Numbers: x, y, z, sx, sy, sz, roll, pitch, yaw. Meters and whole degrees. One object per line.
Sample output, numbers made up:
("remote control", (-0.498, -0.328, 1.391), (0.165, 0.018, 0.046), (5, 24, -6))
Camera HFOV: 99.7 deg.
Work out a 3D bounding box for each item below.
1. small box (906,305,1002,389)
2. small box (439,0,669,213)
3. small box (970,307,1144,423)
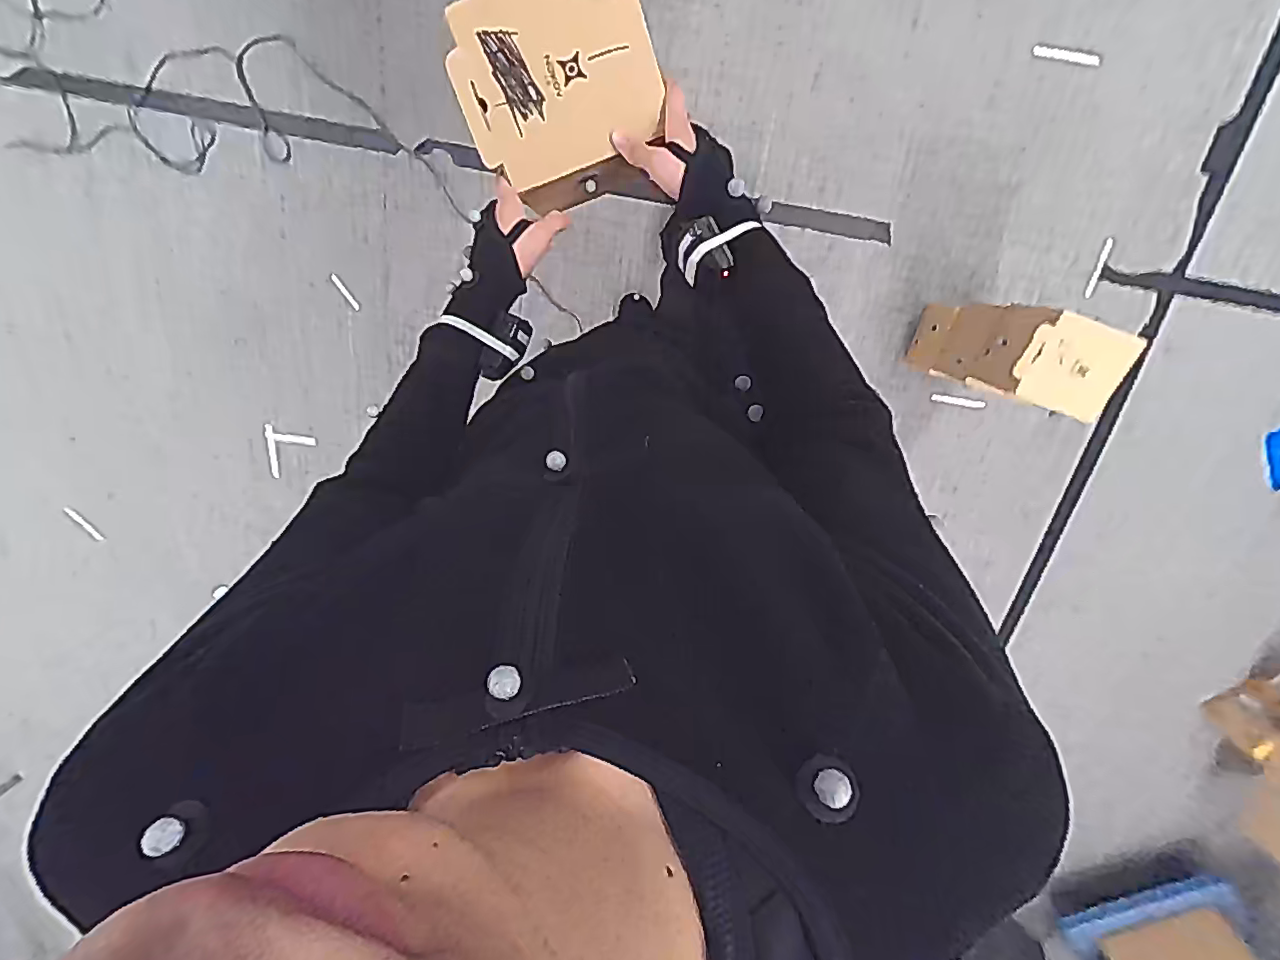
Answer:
("small box", (0.821, -0.348, 1.392), (0.179, 0.176, 0.168), (13, 112, -2))
("small box", (-0.077, -0.412, 0.585), (0.179, 0.176, 0.168), (-20, 108, 6))
("small box", (0.817, -0.237, 1.081), (0.179, 0.176, 0.168), (19, 112, -4))
